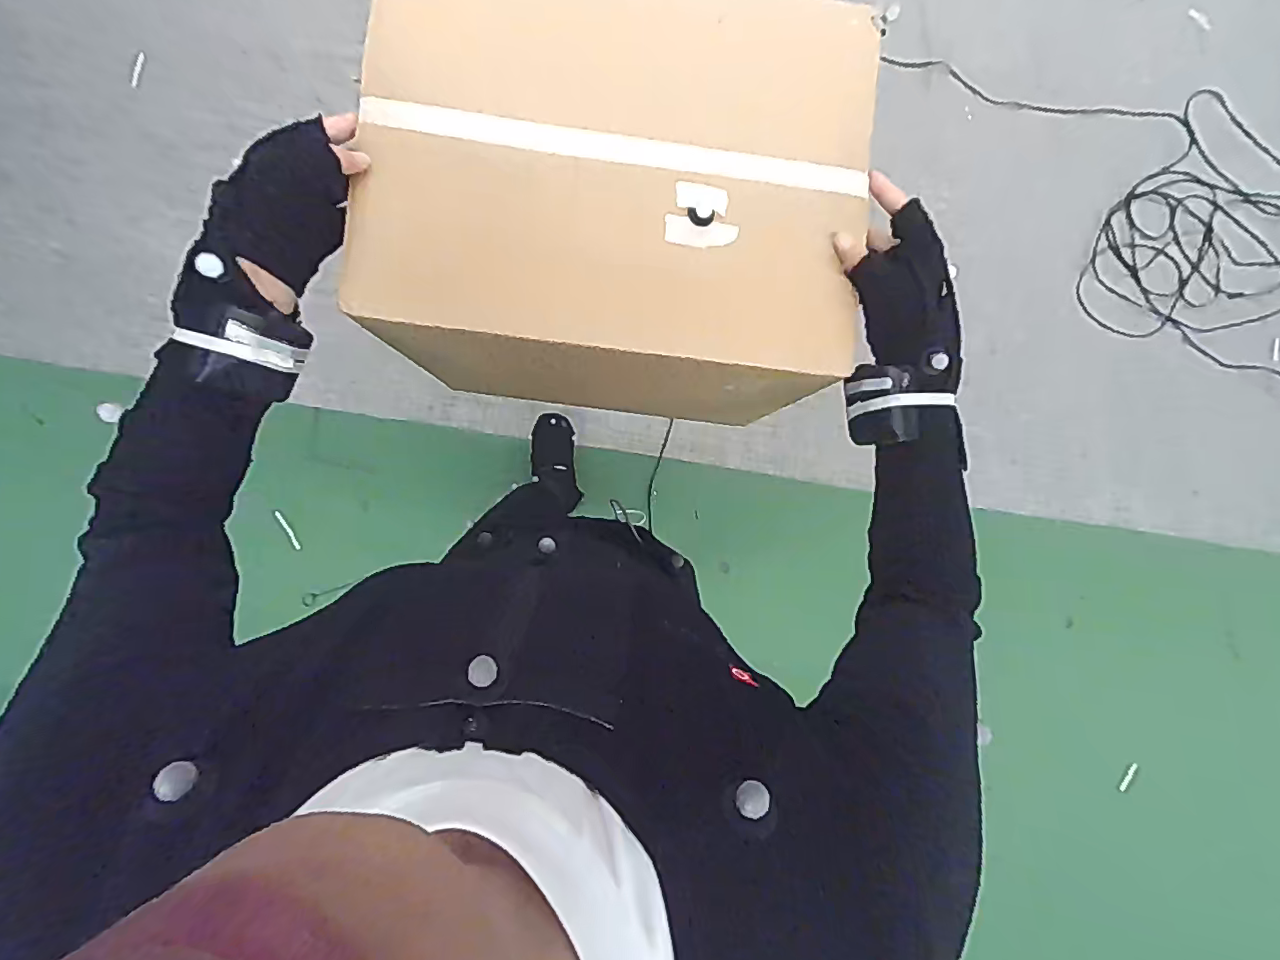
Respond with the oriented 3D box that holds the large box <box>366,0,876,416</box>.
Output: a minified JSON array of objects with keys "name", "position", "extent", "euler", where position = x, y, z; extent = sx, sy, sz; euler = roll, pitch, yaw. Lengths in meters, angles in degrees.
[{"name":"large box","position":[-0.020,-0.261,0.592],"extent":[0.408,0.320,0.320],"euler":[6,89,-4]}]
